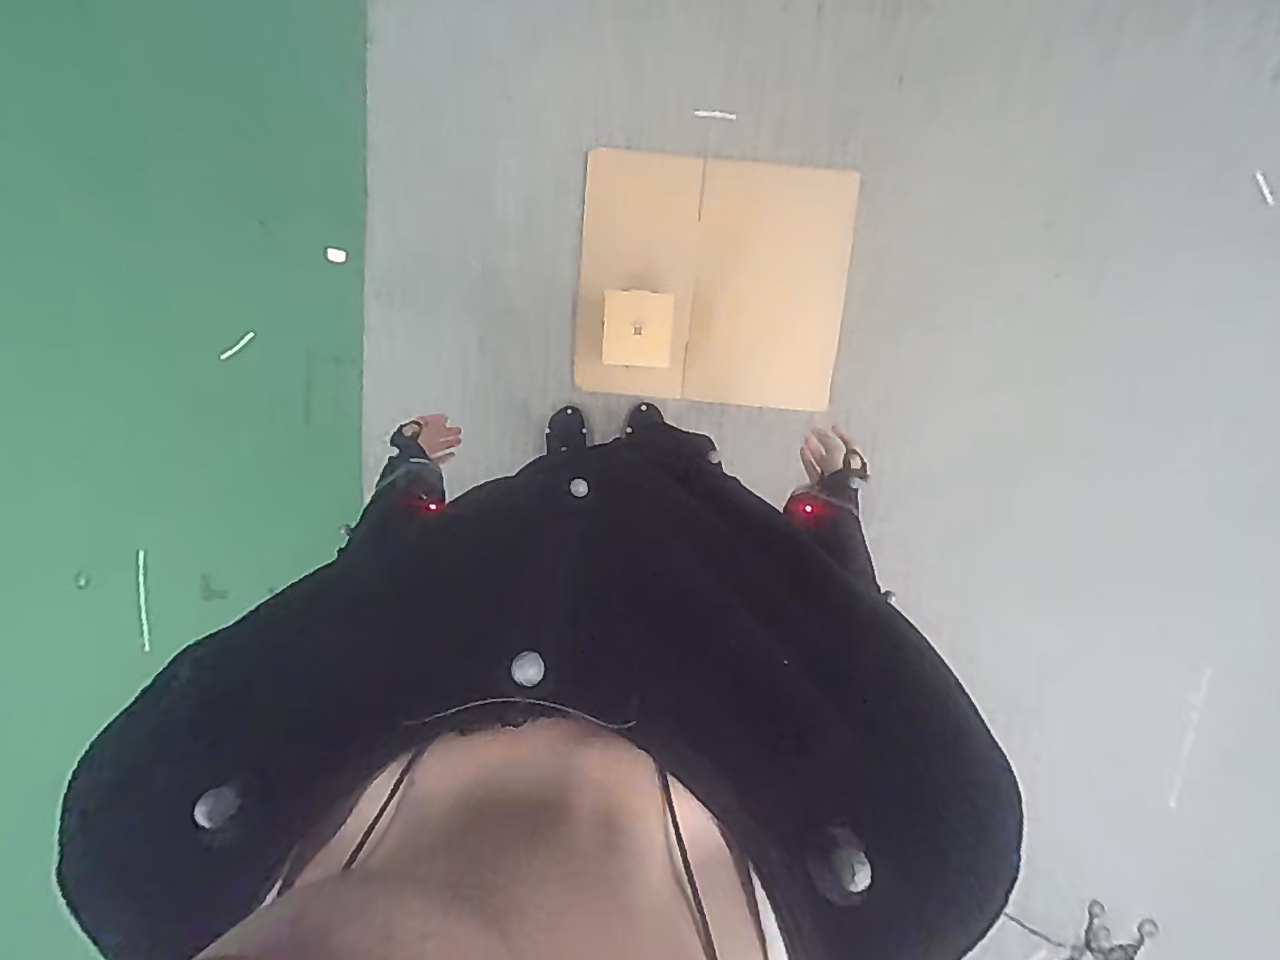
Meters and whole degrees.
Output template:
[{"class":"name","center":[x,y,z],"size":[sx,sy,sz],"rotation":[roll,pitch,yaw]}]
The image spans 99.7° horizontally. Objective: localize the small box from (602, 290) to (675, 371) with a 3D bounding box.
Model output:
[{"class":"small box","center":[-0.003,-0.367,1.353],"size":[0.168,0.176,0.179],"rotation":[3,100,-1]}]
